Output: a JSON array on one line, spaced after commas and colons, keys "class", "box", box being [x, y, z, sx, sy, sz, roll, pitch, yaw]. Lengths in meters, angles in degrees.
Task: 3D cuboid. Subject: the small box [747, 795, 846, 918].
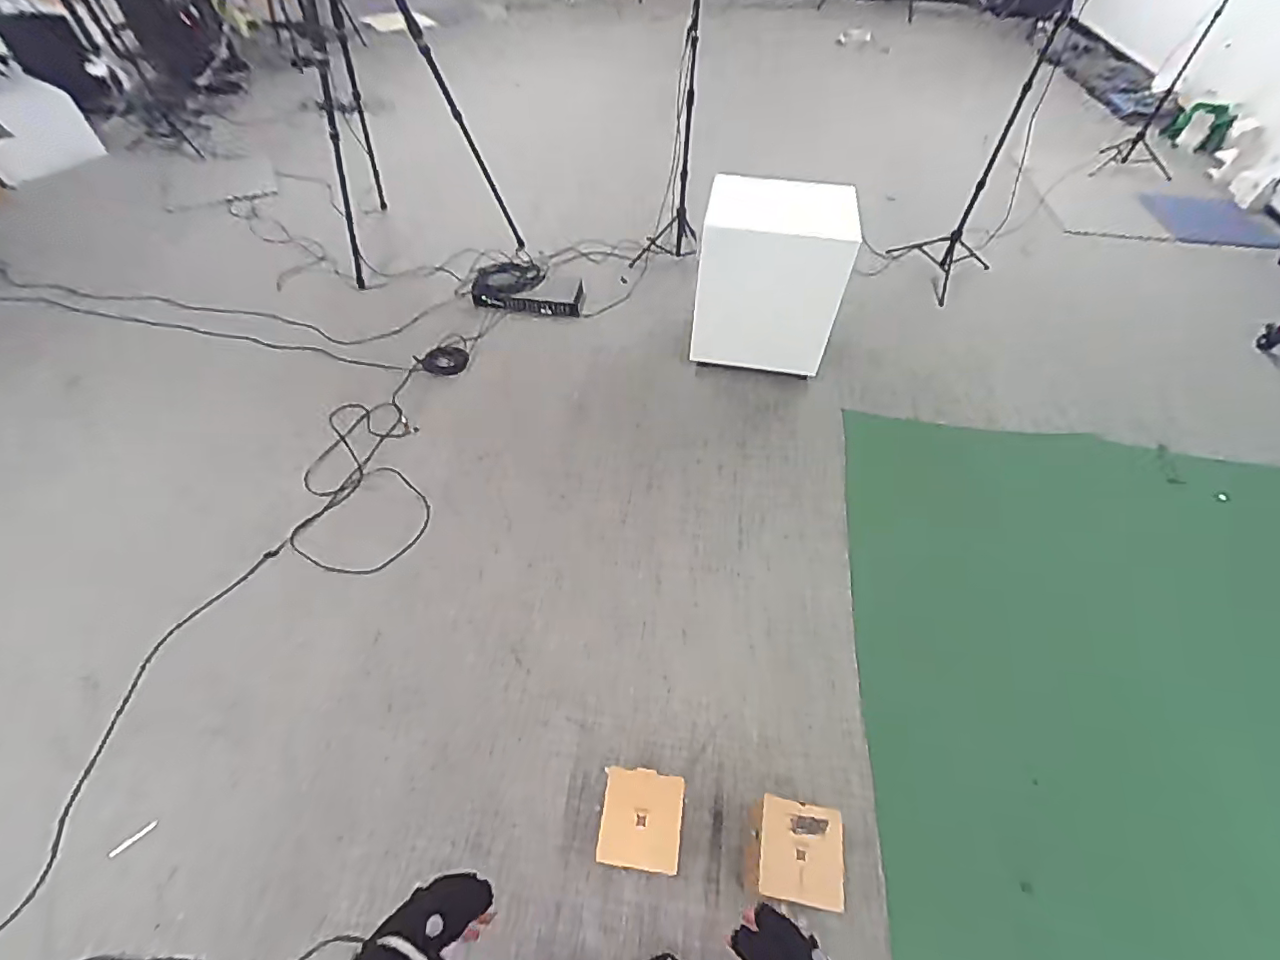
[{"class": "small box", "box": [0.326, 0.795, 1.143, 0.168, 0.176, 0.179, 10, 53, 7]}]

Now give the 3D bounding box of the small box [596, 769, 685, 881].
[{"class": "small box", "box": [0.004, 0.750, 1.173, 0.168, 0.176, 0.179, 7, 51, 4]}]
